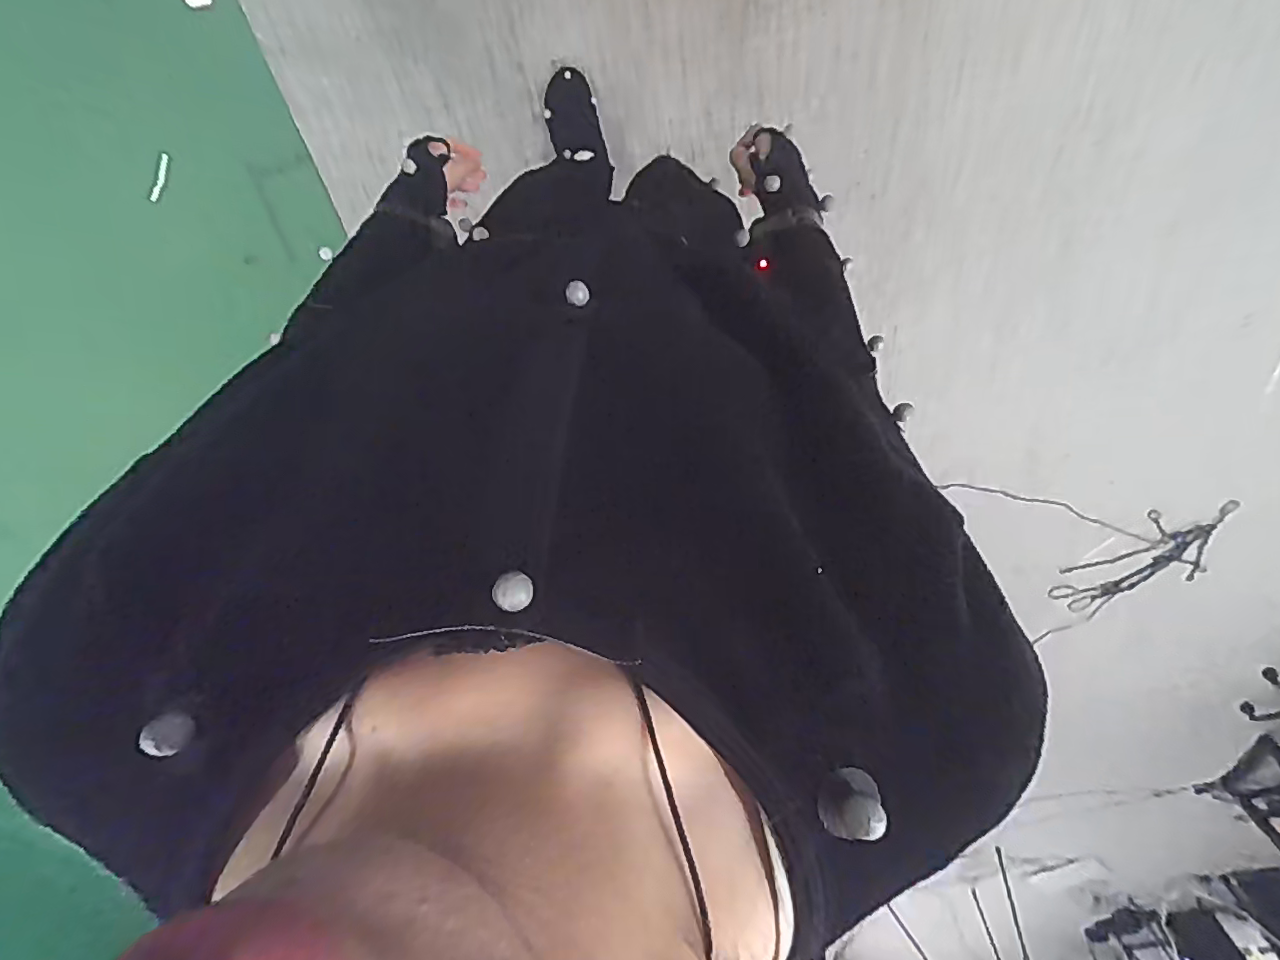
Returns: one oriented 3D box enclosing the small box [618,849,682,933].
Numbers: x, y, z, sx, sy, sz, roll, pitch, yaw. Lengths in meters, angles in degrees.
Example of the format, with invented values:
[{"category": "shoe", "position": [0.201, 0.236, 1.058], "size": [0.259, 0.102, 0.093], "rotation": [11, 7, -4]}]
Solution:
[{"category": "small box", "position": [0.033, 1.269, 1.665], "size": [0.179, 0.176, 0.168], "rotation": [-10, 127, 4]}]
